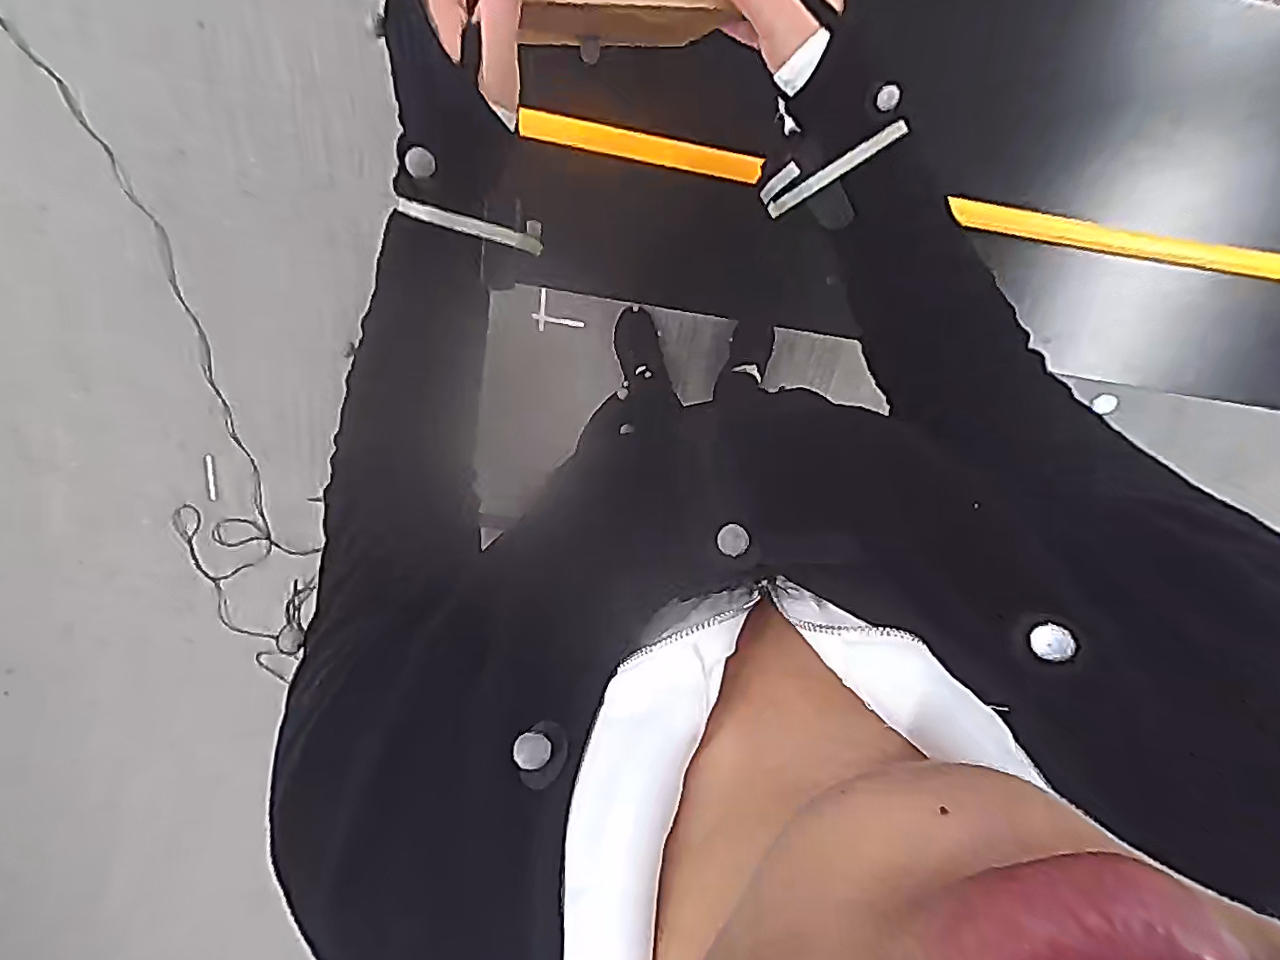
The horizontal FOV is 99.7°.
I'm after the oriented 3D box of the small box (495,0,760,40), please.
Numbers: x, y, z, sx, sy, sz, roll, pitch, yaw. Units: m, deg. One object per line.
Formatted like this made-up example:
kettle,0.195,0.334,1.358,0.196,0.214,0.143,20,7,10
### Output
small box,-0.020,-0.403,0.342,0.168,0.176,0.179,-8,124,-10
